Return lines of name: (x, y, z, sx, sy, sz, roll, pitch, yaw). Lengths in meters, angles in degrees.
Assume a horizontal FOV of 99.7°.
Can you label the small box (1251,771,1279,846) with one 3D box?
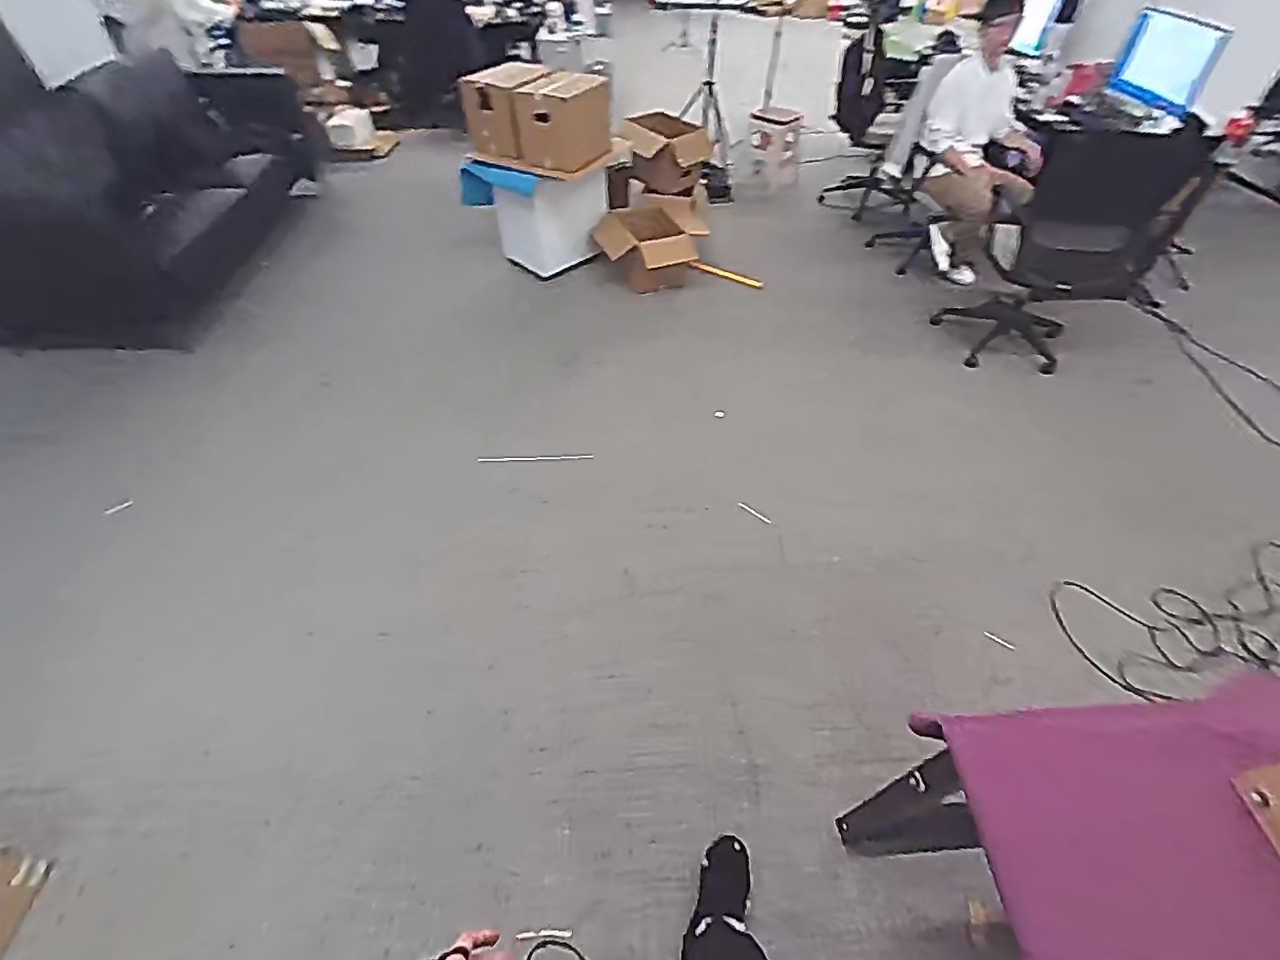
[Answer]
small box: (0.976, 0.464, 0.699, 0.179, 0.176, 0.168, 0, 49, 0)
